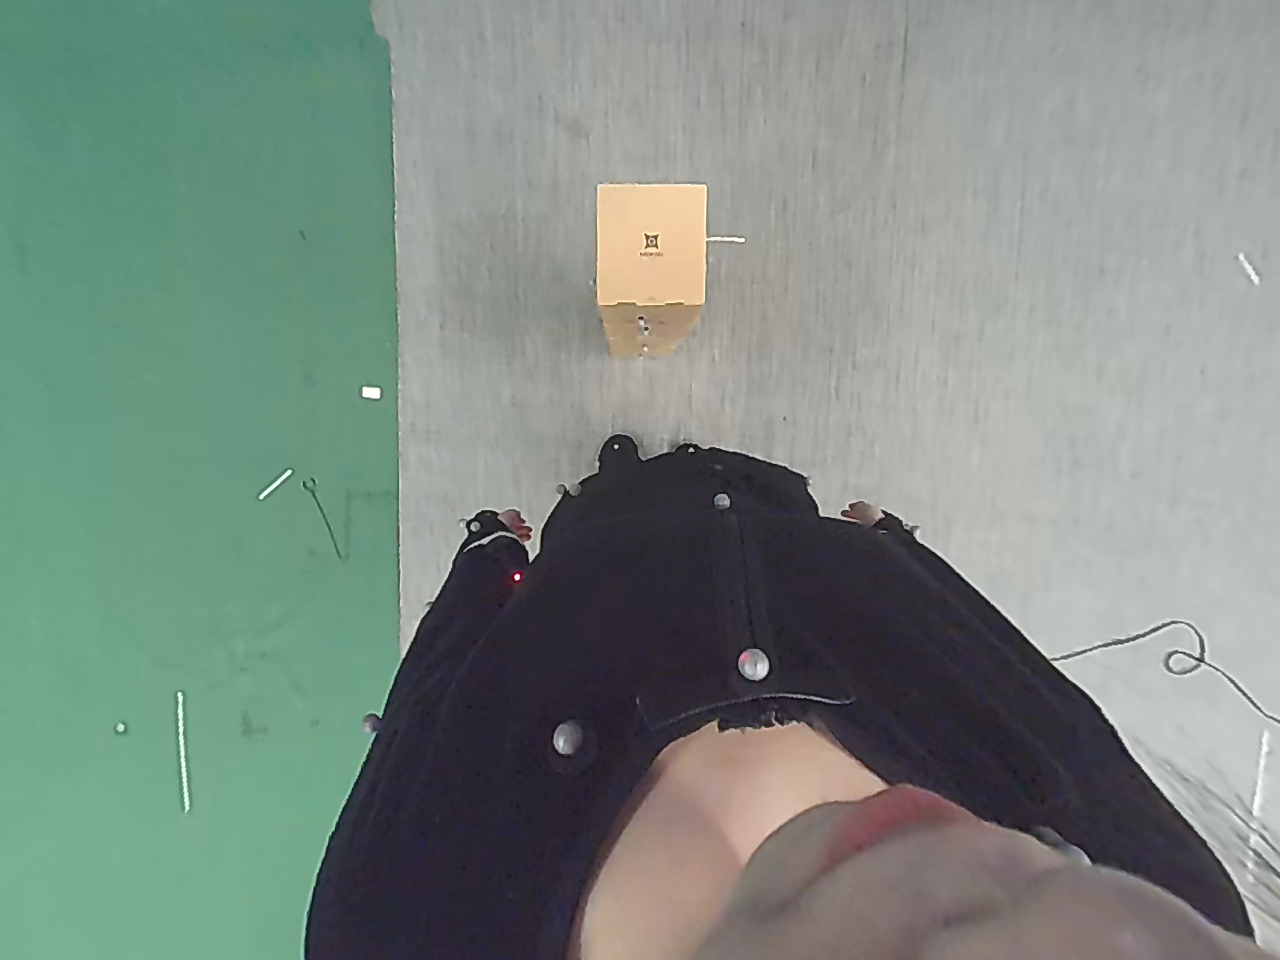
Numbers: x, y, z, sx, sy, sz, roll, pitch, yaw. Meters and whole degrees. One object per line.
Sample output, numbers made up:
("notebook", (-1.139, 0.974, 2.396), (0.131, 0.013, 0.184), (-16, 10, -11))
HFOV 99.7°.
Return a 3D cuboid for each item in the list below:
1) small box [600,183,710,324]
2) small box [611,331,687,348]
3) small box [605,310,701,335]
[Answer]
("small box", (0.020, -0.363, 0.892), (0.168, 0.176, 0.179), (0, 97, 0))
("small box", (0.016, -0.402, 1.217), (0.168, 0.176, 0.179), (-3, 96, 1))
("small box", (0.023, -0.380, 1.054), (0.179, 0.176, 0.168), (-1, 96, 1))
